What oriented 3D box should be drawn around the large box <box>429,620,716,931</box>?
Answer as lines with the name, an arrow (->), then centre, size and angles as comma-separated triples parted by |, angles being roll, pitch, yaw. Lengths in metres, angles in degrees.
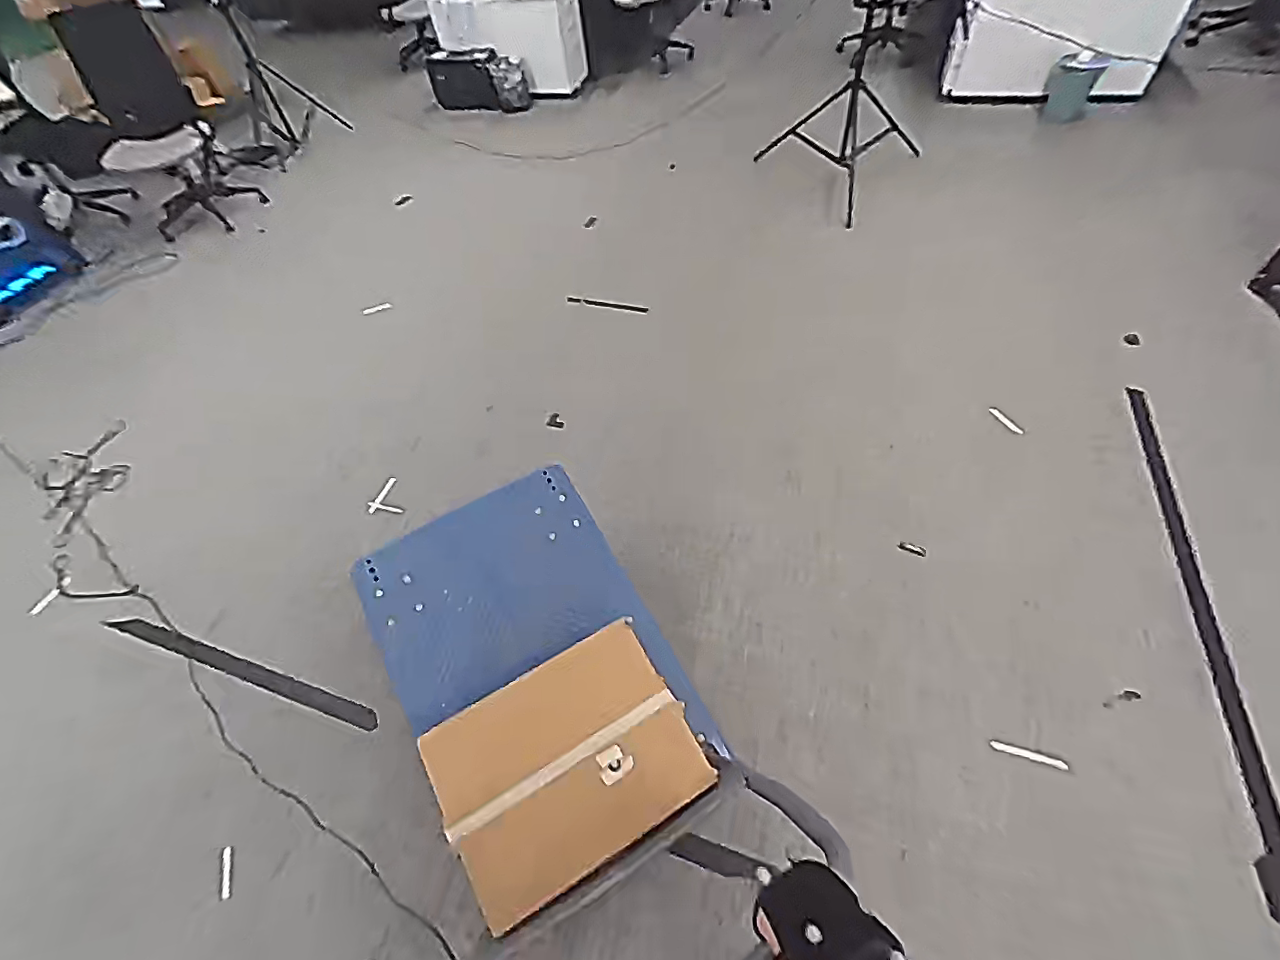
large box -> -0.122, 0.536, 1.046 | 0.408, 0.320, 0.320 | -28, 70, -16
